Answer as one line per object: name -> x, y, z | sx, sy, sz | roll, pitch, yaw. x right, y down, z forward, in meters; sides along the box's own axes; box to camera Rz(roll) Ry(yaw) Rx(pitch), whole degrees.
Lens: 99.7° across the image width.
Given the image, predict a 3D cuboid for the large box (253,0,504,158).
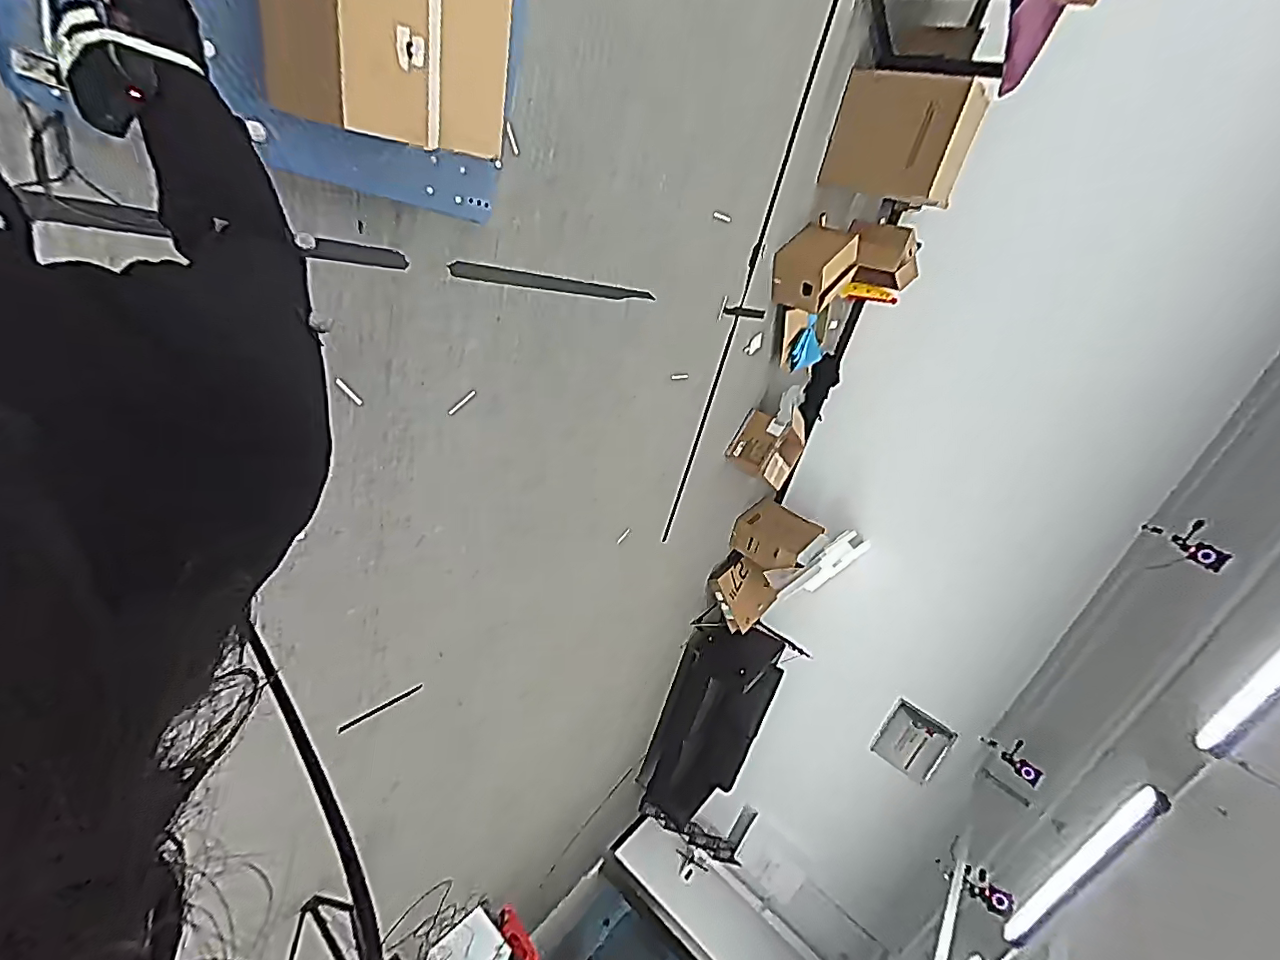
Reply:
large box -> -0.466, -0.856, 0.968 | 0.320, 0.320, 0.408 | -21, 135, -47
